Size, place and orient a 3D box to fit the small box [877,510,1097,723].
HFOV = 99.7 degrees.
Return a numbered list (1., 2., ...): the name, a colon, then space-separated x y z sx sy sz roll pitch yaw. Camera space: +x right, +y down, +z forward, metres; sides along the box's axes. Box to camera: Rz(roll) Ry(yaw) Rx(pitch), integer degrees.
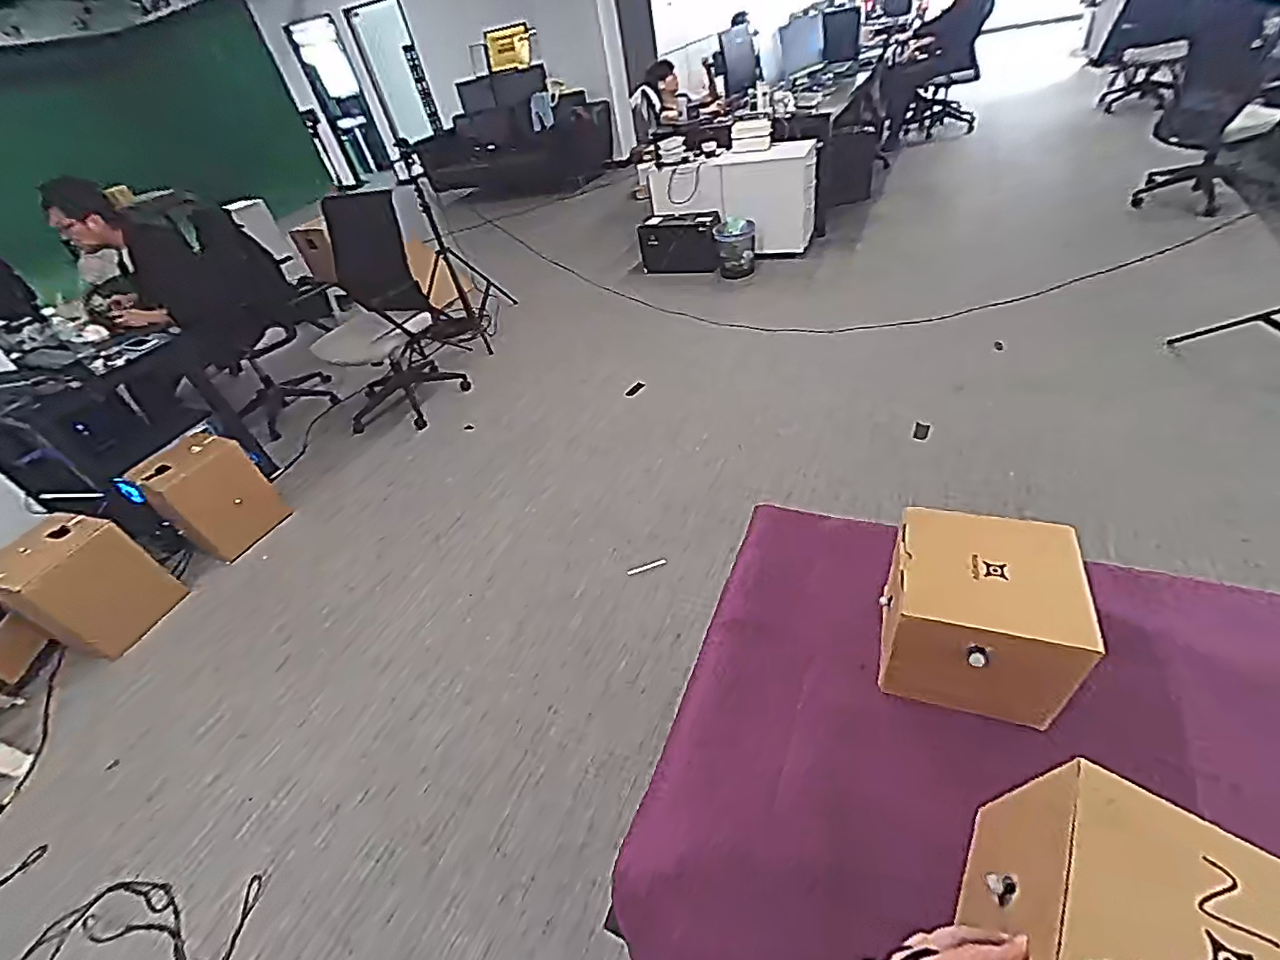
1. small box: 0.391 0.161 0.641 0.179 0.176 0.168 7 44 22
